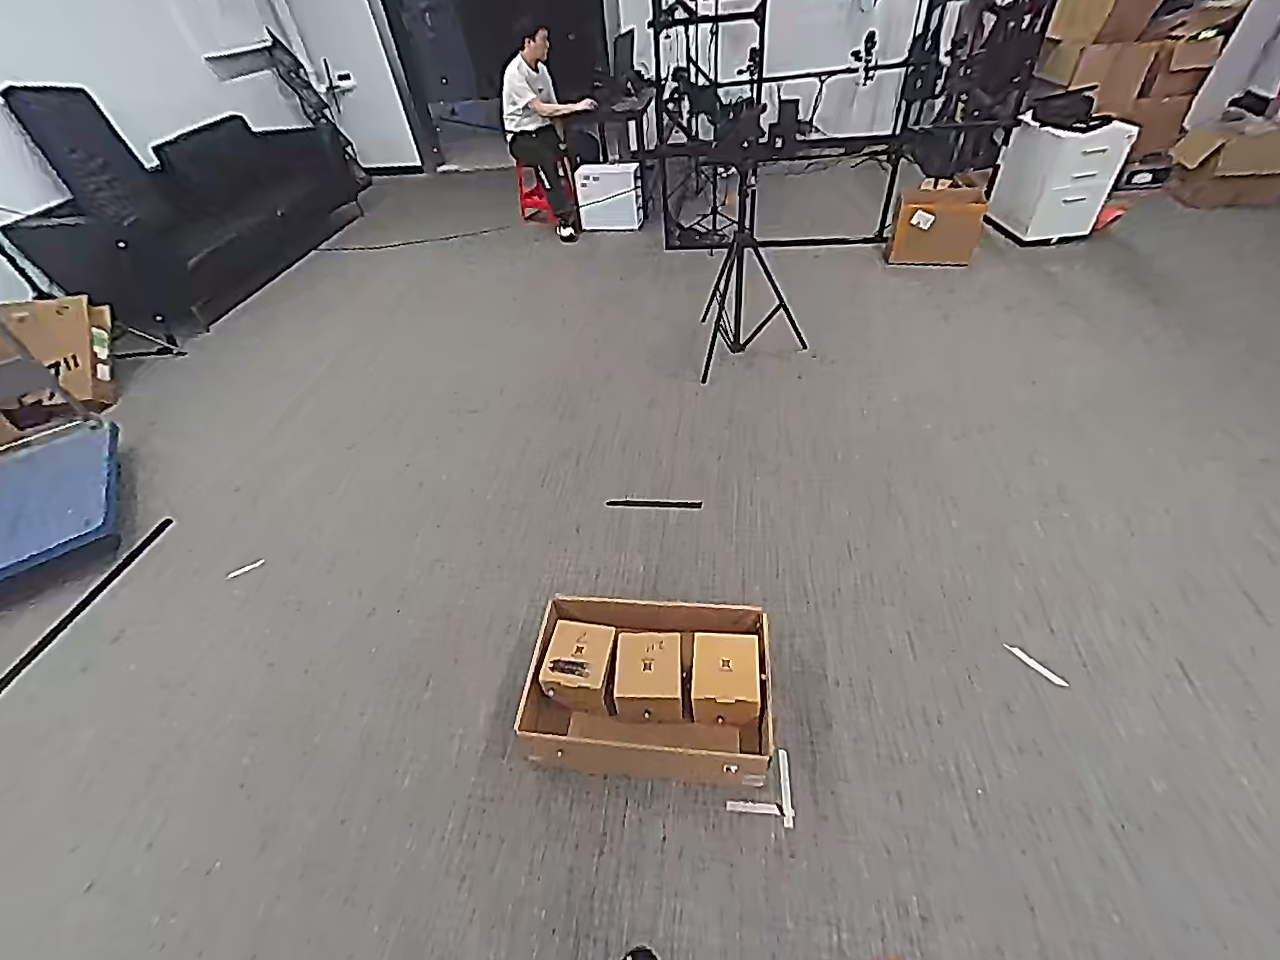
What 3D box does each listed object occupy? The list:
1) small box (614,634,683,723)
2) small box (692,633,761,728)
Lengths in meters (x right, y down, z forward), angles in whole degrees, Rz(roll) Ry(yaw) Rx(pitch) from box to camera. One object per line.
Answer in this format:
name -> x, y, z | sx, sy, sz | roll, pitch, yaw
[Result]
small box -> 0.029, 0.524, 1.423 | 0.168, 0.176, 0.179 | -1, 44, 5
small box -> 0.224, 0.519, 1.403 | 0.168, 0.176, 0.179 | -1, 45, 9
